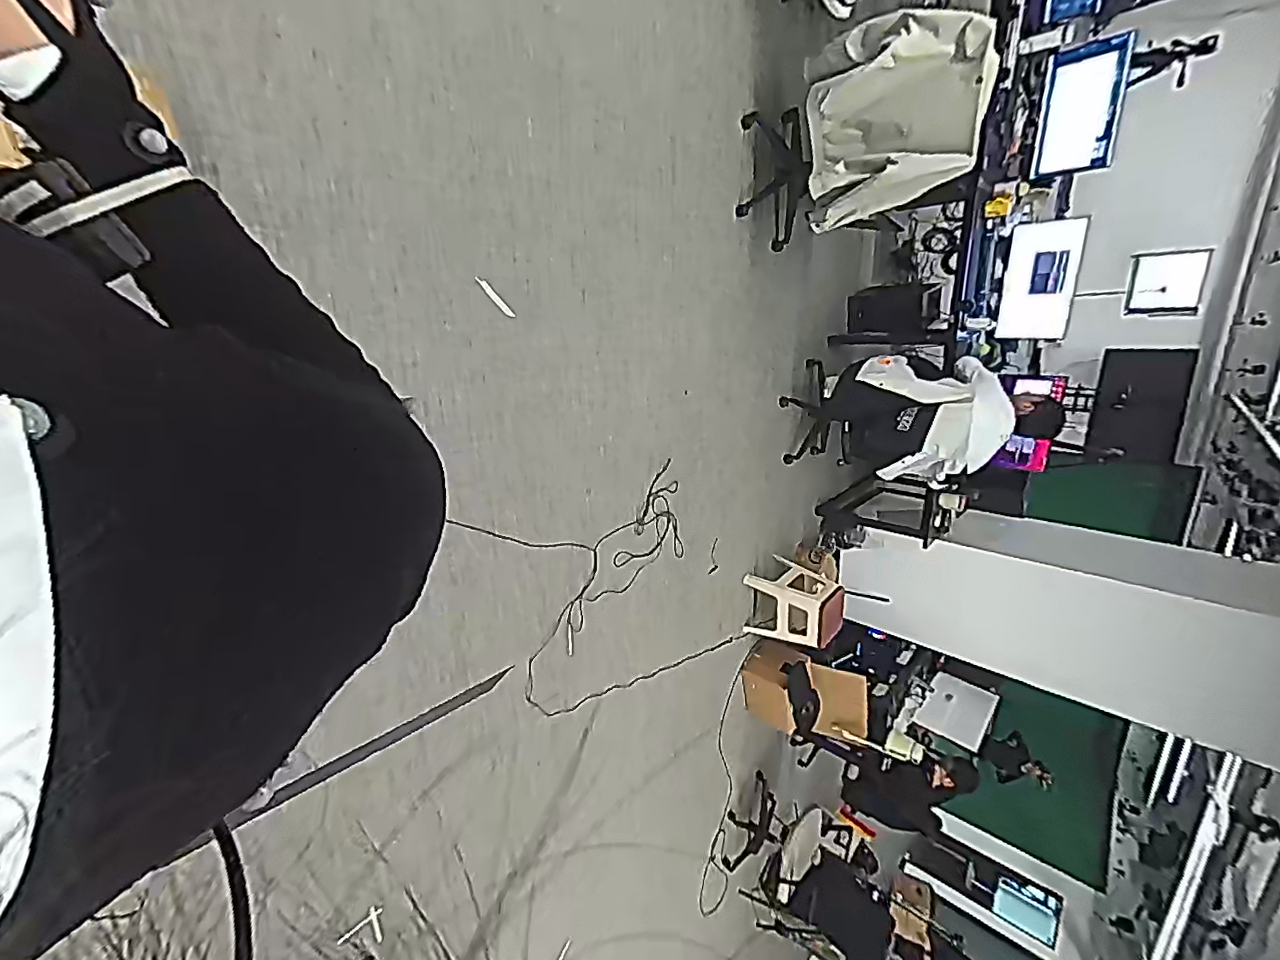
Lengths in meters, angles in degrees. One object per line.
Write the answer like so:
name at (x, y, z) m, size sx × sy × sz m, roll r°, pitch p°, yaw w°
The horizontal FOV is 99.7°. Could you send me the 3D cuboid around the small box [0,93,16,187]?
small box at (-1.024, -0.540, 0.763) m, size 0.168 × 0.176 × 0.179 m, roll -13°, pitch 110°, yaw -46°
